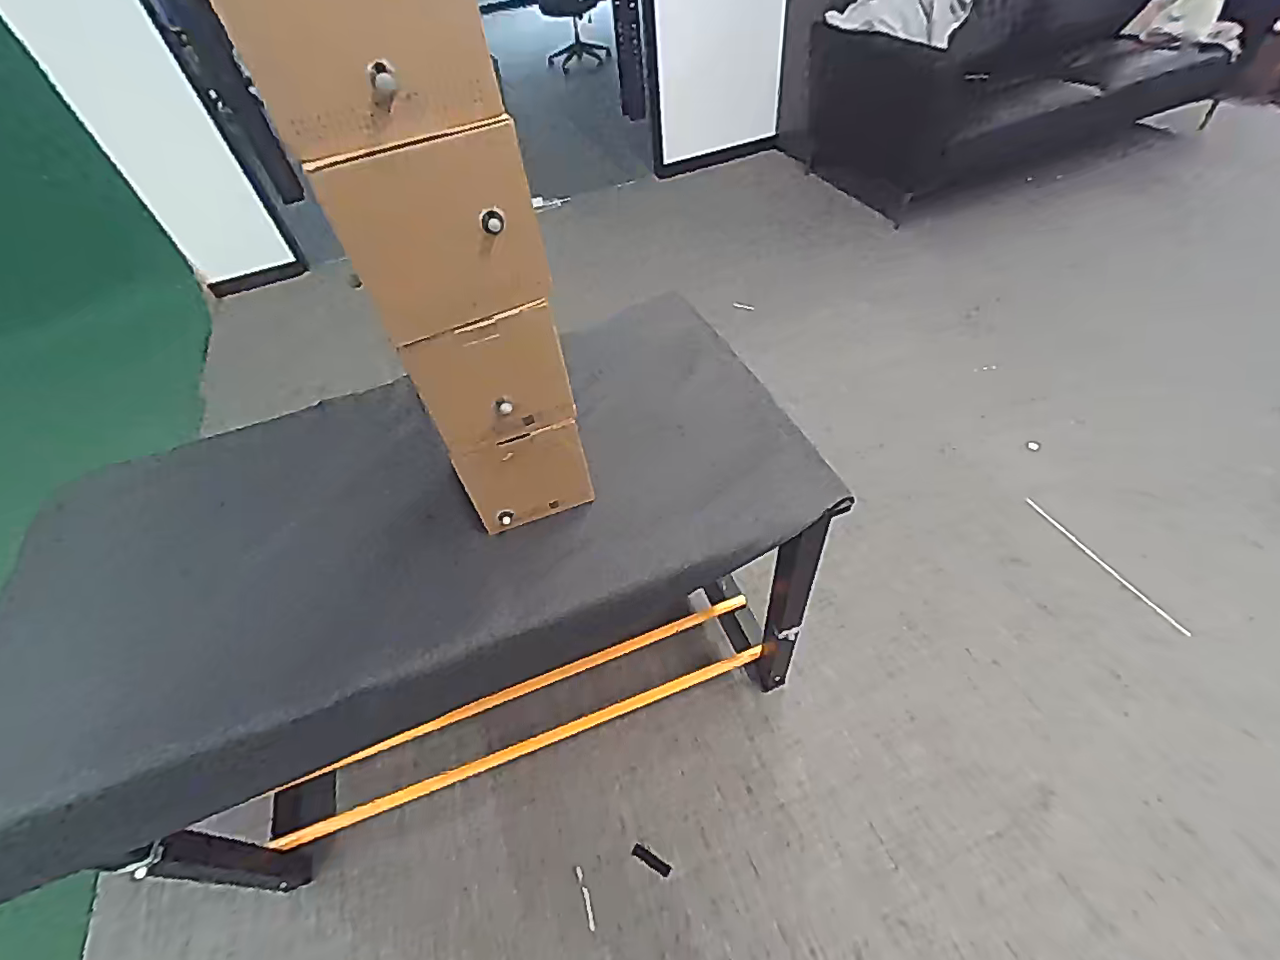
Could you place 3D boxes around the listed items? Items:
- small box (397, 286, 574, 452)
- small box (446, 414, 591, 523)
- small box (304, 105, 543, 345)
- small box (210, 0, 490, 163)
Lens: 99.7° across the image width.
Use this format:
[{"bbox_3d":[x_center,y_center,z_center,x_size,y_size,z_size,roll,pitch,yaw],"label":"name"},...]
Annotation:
[{"bbox_3d":[-0.196,-0.167,0.678,0.168,0.176,0.179,-21,50,-10],"label":"small box"},{"bbox_3d":[-0.180,-0.057,0.800,0.168,0.176,0.179,-19,49,-9],"label":"small box"},{"bbox_3d":[-0.212,-0.269,0.553,0.179,0.176,0.168,-25,49,-13],"label":"small box"},{"bbox_3d":[-0.235,-0.387,0.440,0.179,0.176,0.168,-22,49,-12],"label":"small box"}]
